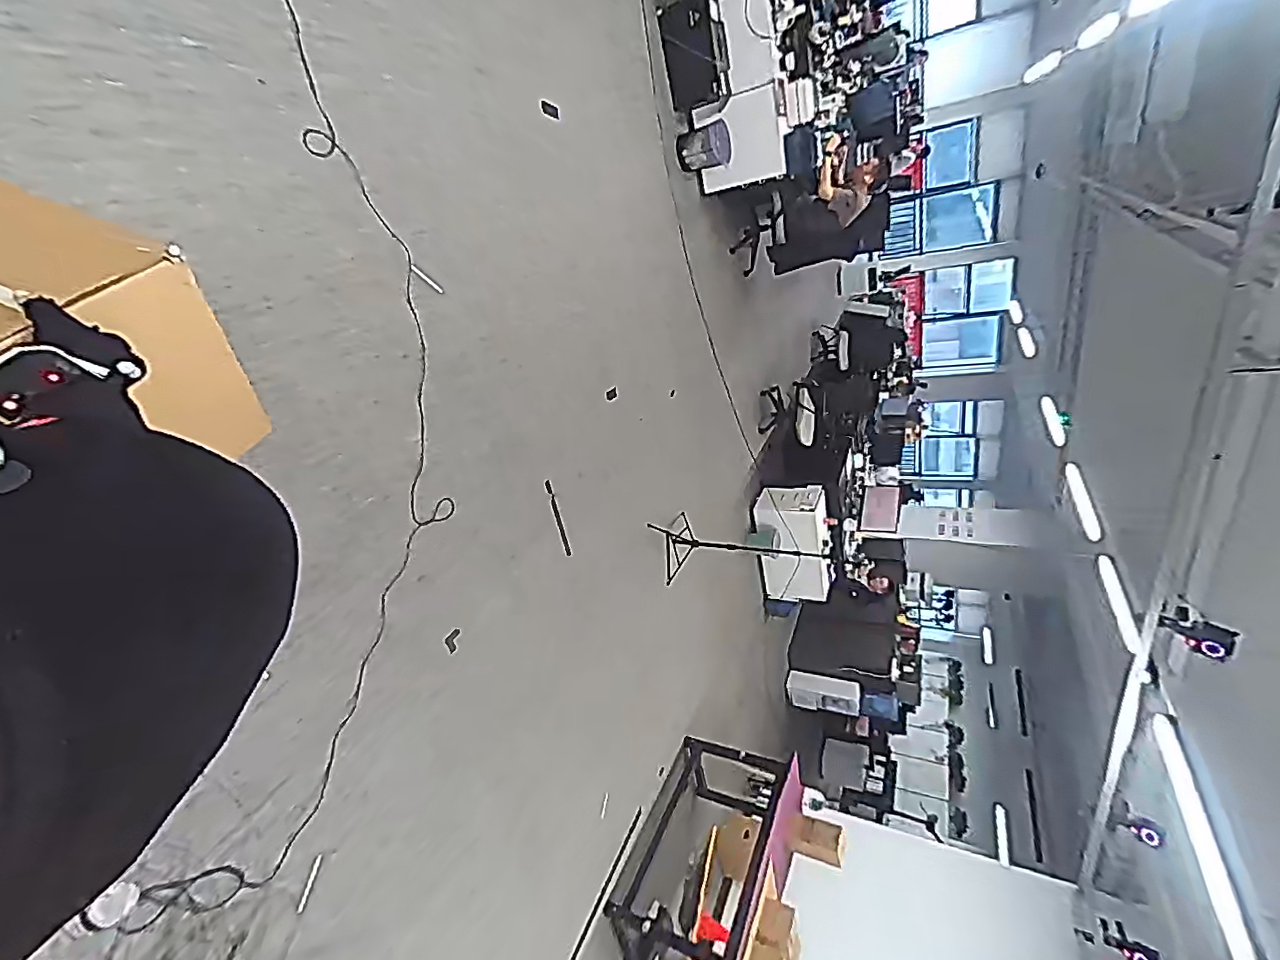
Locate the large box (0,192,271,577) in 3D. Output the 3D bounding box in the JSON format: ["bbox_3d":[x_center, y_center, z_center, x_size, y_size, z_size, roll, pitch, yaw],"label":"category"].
[{"bbox_3d":[-0.808,-0.136,0.695,0.320,0.408,0.320,107,7,-52],"label":"large box"}]
